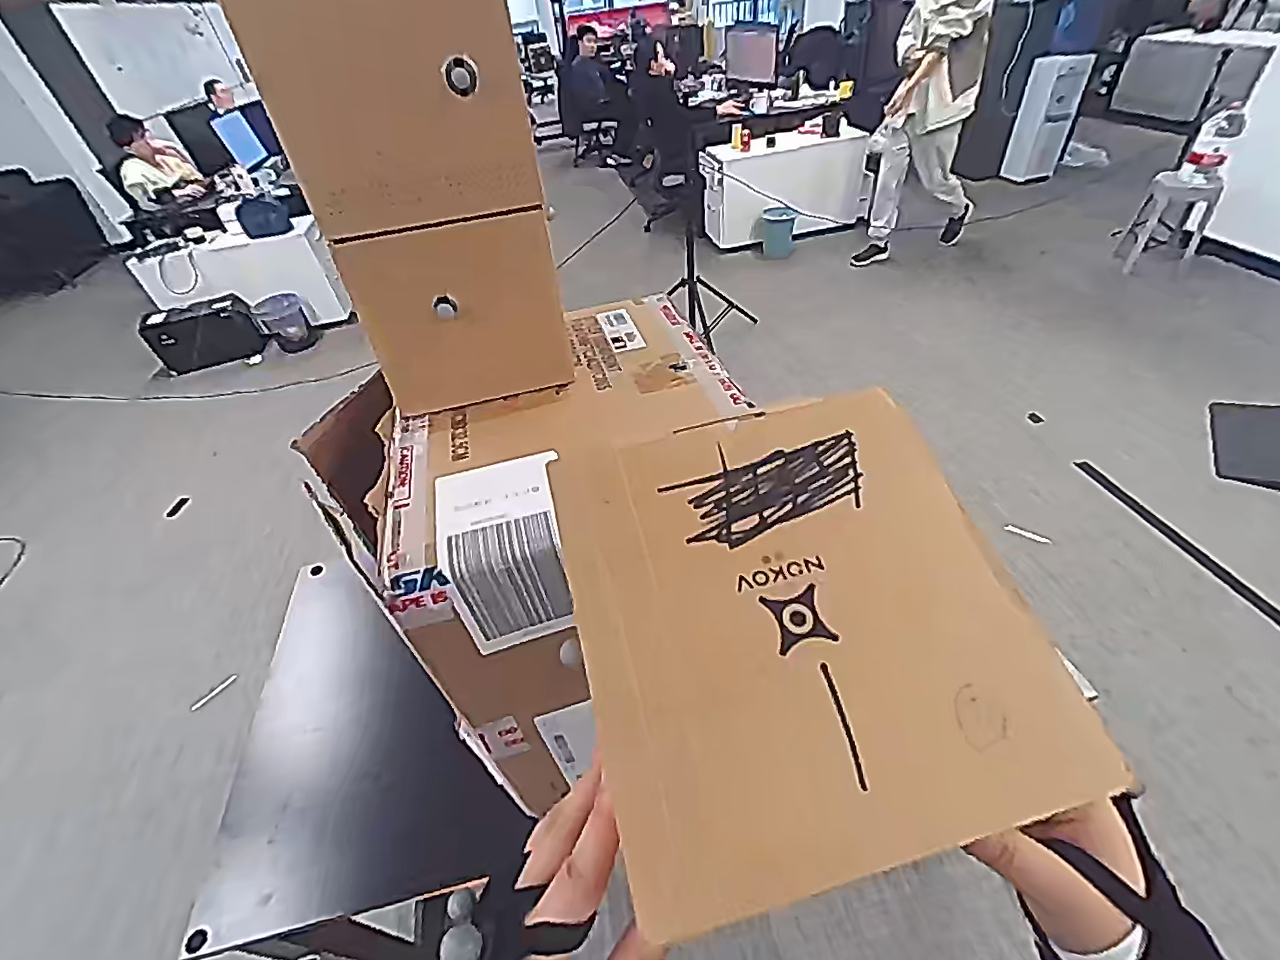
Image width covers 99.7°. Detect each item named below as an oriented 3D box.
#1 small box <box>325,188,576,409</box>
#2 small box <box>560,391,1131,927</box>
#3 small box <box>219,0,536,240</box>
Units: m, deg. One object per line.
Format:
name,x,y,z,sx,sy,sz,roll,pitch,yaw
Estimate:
small box,-0.176,-0.191,0.544,0.179,0.176,0.168,-15,41,-8
small box,0.062,0.086,0.276,0.168,0.176,0.179,-13,59,-6
small box,-0.189,-0.313,0.435,0.179,0.176,0.168,-16,40,-10
